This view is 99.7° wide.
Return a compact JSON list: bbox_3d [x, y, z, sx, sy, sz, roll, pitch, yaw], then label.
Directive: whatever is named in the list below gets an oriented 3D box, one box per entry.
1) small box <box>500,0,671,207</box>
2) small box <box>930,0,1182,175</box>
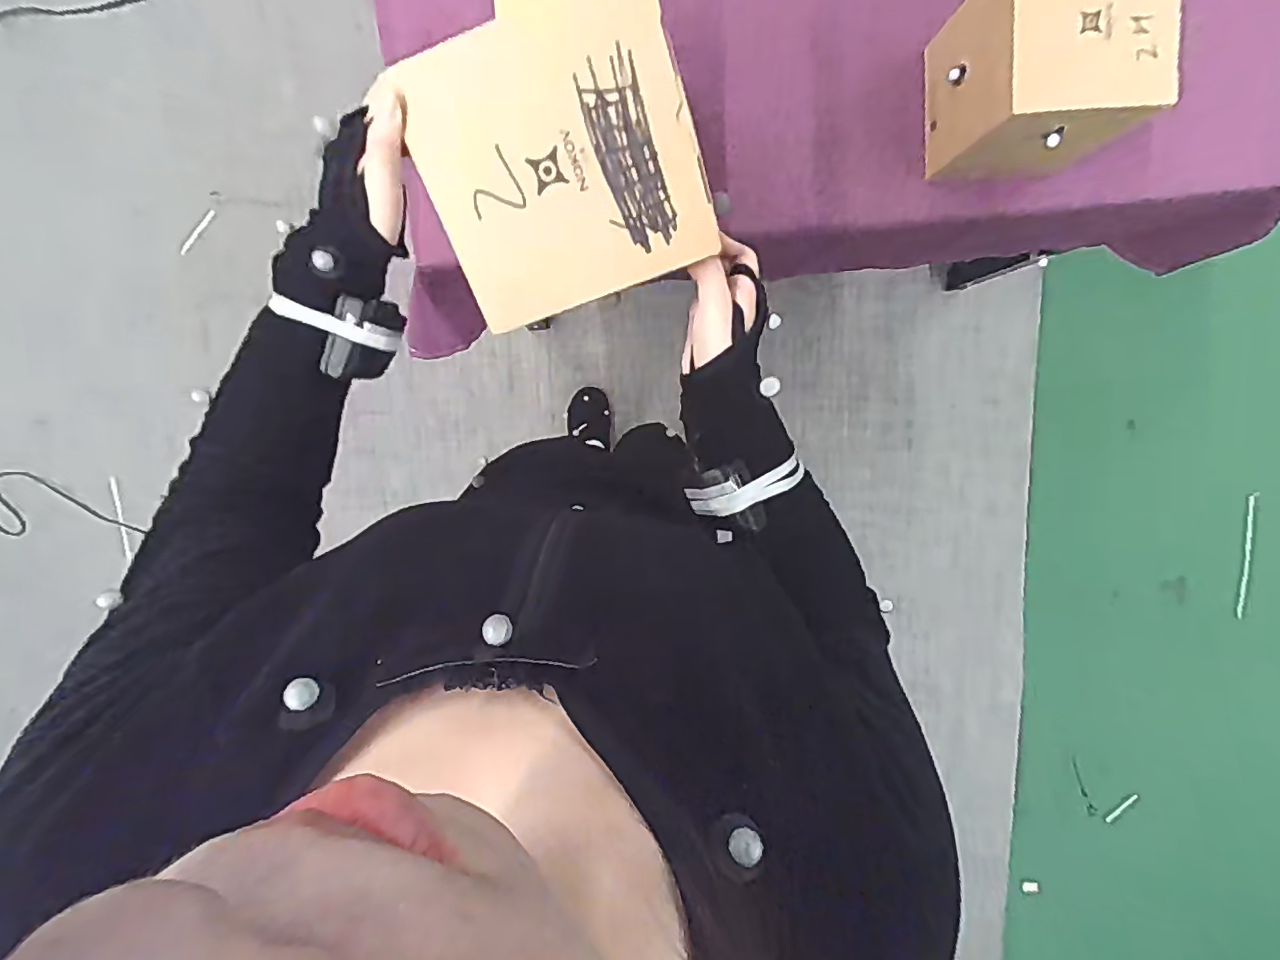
[{"bbox_3d":[-0.058,-0.438,0.620,0.168,0.176,0.179,-5,98,-1],"label":"small box"},{"bbox_3d":[0.462,-0.476,0.627,0.179,0.176,0.168,-4,98,-1],"label":"small box"}]
